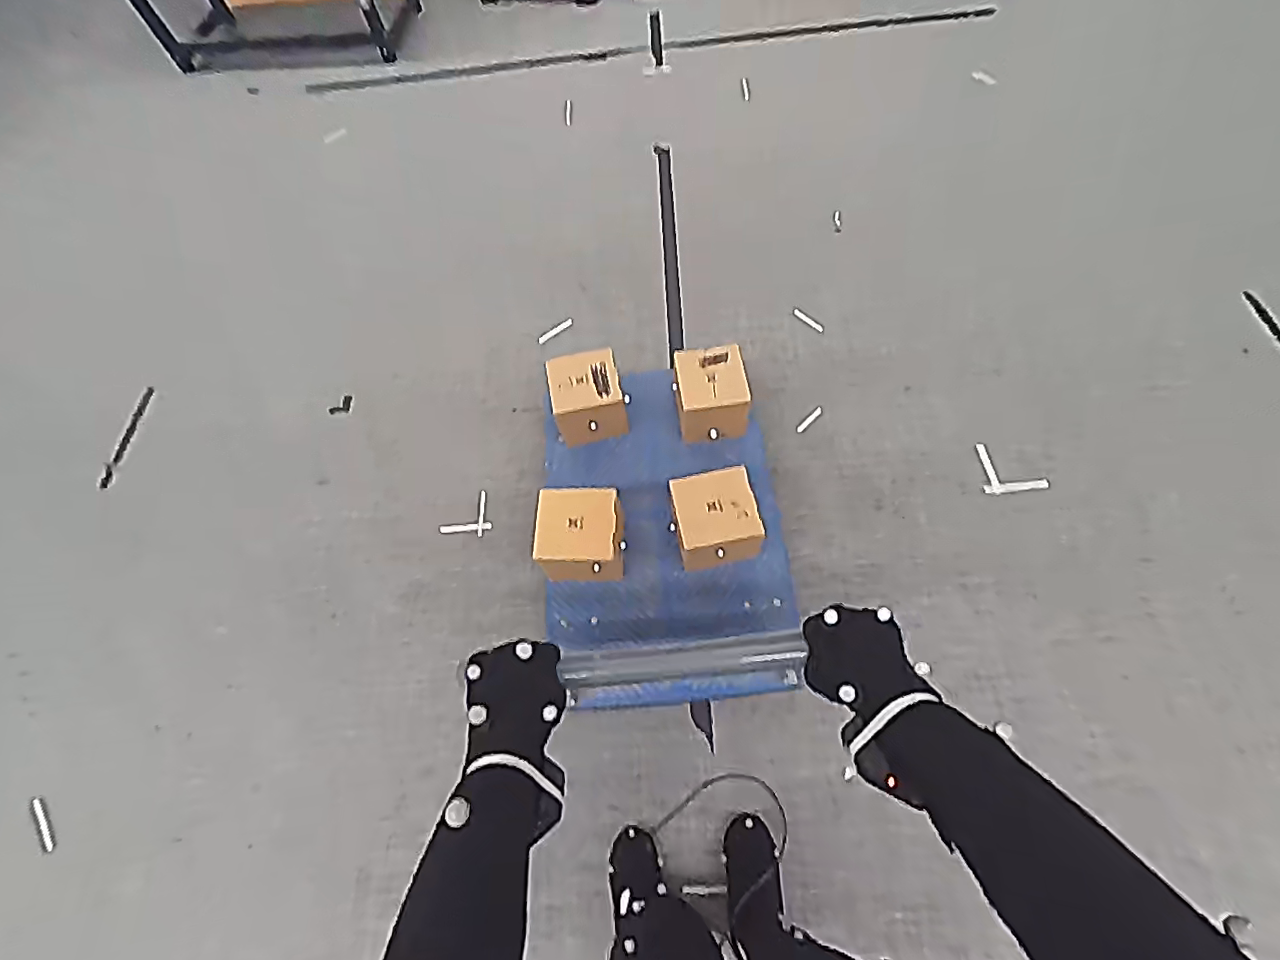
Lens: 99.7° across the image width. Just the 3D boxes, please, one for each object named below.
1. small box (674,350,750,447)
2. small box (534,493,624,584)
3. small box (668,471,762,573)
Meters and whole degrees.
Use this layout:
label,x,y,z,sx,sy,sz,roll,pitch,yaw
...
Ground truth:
label,x,y,z,sx,sy,sz,roll,pitch,yaw
small box,0.179,-0.207,1.399,0.168,0.176,0.179,-8,64,1
small box,-0.135,0.140,1.256,0.179,0.176,0.168,-1,63,3
small box,0.170,0.103,1.246,0.179,0.176,0.168,-12,63,0
